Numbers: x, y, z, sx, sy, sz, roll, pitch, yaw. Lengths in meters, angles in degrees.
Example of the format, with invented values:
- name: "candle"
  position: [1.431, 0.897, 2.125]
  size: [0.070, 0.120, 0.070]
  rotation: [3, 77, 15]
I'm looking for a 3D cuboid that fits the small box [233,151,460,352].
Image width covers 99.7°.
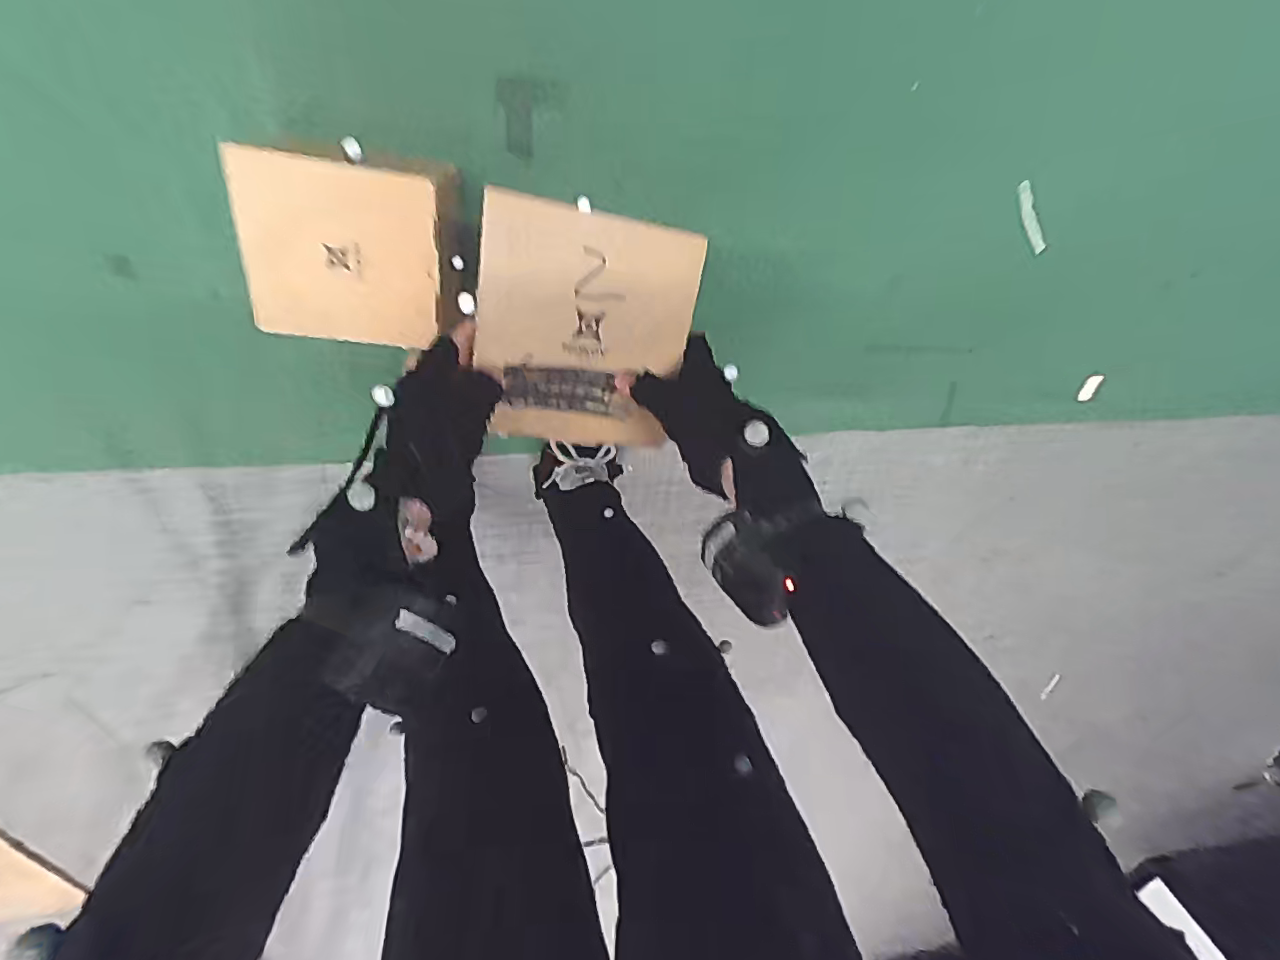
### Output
- name: "small box"
  position: [-0.301, -0.256, 0.601]
  size: [0.179, 0.176, 0.168]
  rotation: [3, 122, -14]
